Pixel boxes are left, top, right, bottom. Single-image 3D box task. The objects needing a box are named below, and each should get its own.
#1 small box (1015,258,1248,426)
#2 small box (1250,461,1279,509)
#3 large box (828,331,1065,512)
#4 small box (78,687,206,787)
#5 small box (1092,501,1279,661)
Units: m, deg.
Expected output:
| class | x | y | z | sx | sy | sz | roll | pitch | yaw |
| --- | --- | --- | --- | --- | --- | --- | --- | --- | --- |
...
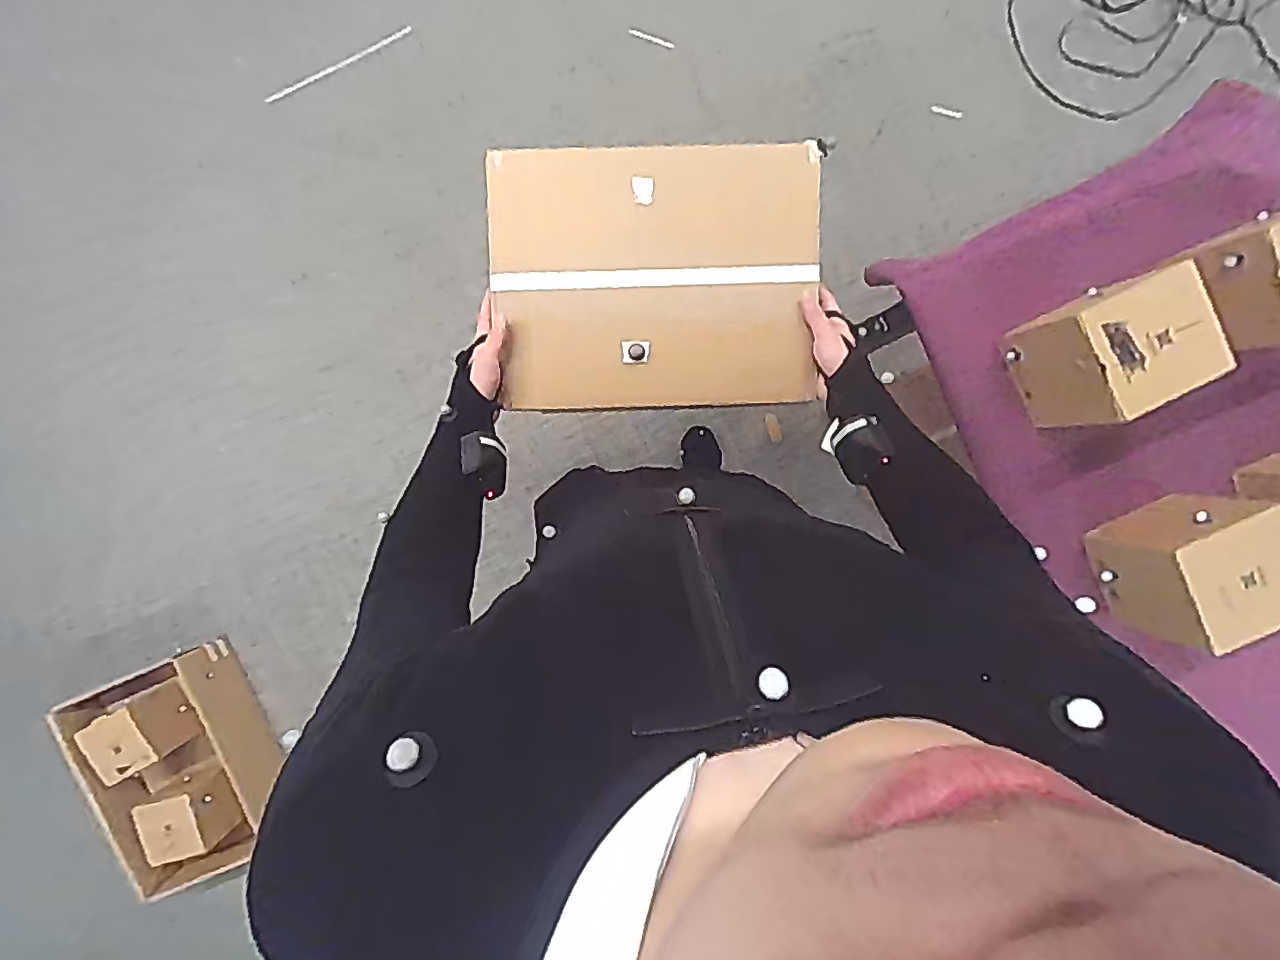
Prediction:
| class | x | y | z | sx | sy | sz | roll | pitch | yaw |
| --- | --- | --- | --- | --- | --- | --- | --- | --- | --- |
| small box | 0.702 | -0.189 | 0.801 | 0.179 | 0.176 | 0.168 | -26 | 93 | 0 |
| small box | 1.110 | 0.037 | 0.814 | 0.179 | 0.176 | 0.168 | -23 | 93 | 3 |
| large box | 0.798 | -0.146 | 1.467 | 0.408 | 0.320 | 0.320 | -25 | 93 | 1 |
| small box | -1.412 | 0.721 | 1.545 | 0.168 | 0.176 | 0.179 | -28 | 93 | 1 |
| small box | 0.855 | 0.139 | 0.820 | 0.179 | 0.176 | 0.168 | -23 | 92 | 1 |
